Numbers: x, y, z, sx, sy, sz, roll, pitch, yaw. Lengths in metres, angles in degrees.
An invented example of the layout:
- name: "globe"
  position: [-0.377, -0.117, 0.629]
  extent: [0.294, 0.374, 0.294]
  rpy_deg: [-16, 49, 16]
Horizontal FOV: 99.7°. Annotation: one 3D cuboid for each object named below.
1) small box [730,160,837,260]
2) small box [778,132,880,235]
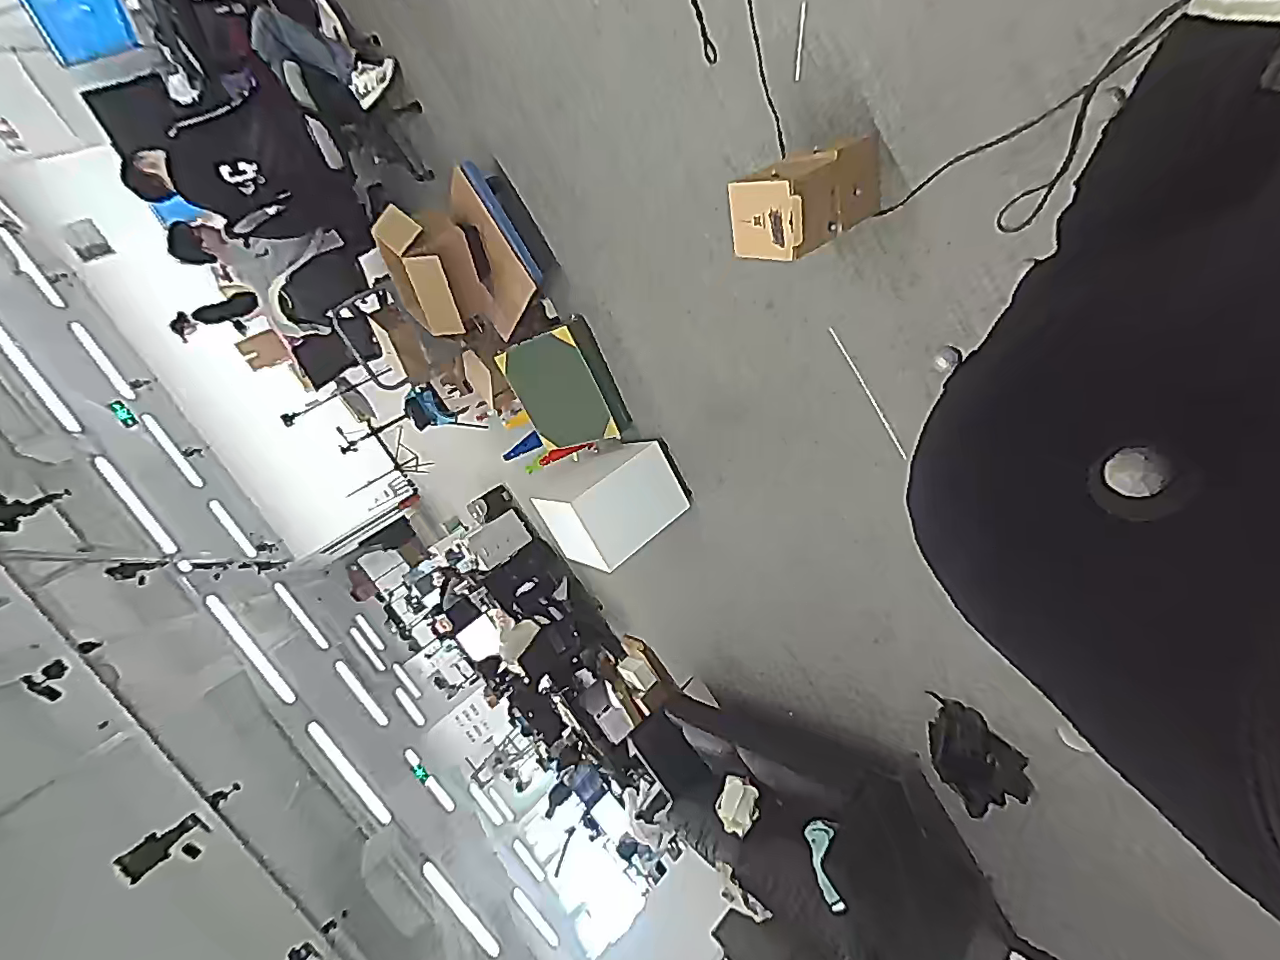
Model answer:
- name: "small box"
  position: [0.334, -0.621, 1.242]
  extent: [0.179, 0.176, 0.168]
  rpy_deg: [29, 144, 43]
- name: "small box"
  position: [0.461, -0.708, 1.304]
  extent: [0.168, 0.176, 0.179]
  rpy_deg: [23, 141, 47]
